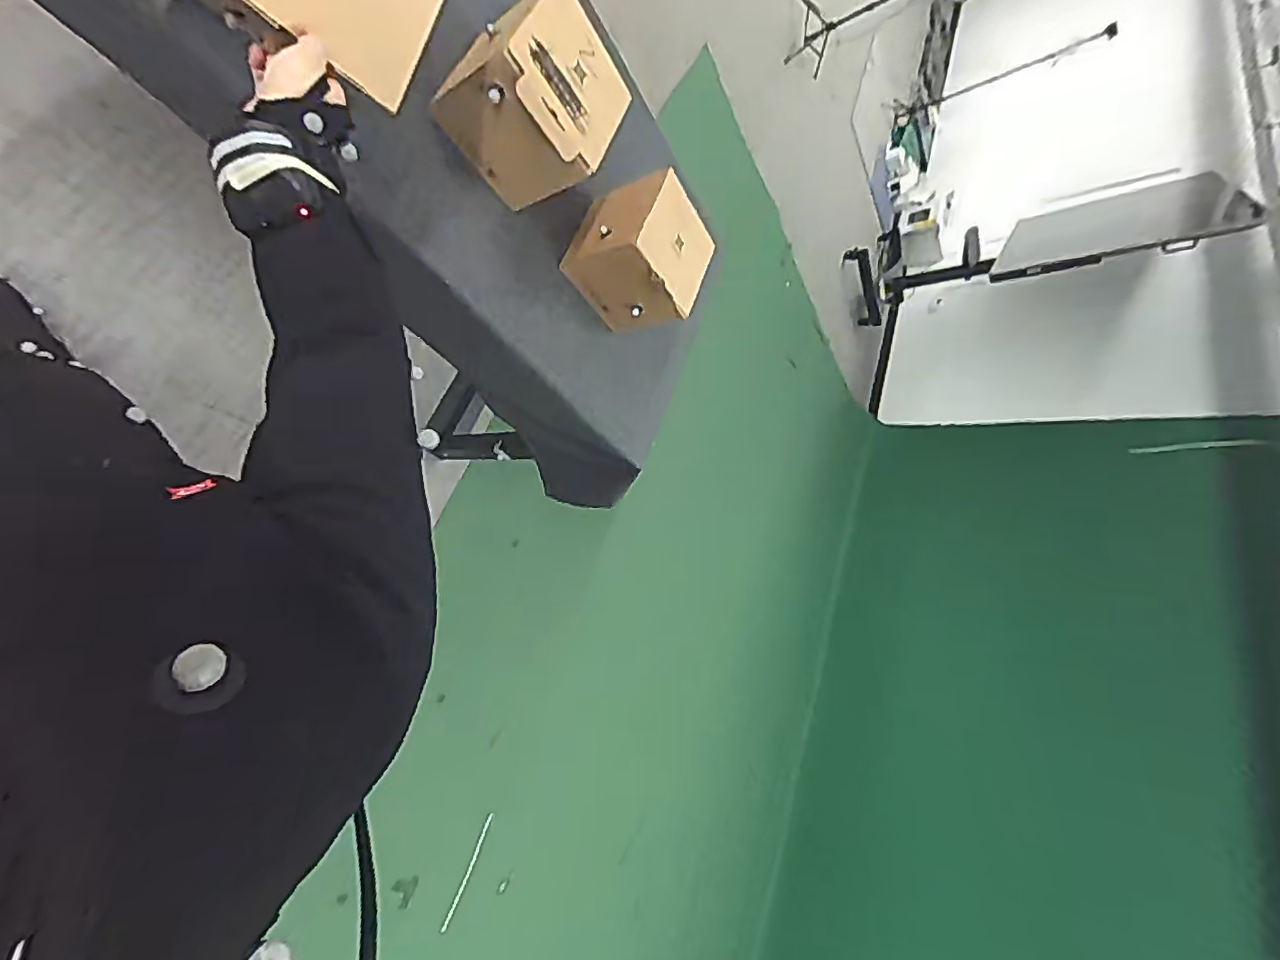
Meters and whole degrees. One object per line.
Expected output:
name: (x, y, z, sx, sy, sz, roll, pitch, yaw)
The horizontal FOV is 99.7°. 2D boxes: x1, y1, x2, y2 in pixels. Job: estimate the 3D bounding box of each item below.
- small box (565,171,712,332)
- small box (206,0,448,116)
small box: (-0.005, -0.379, 0.930, 0.168, 0.176, 0.179, 43, 58, -45)
small box: (-0.283, -0.464, 0.457, 0.179, 0.176, 0.168, -59, 154, 12)
